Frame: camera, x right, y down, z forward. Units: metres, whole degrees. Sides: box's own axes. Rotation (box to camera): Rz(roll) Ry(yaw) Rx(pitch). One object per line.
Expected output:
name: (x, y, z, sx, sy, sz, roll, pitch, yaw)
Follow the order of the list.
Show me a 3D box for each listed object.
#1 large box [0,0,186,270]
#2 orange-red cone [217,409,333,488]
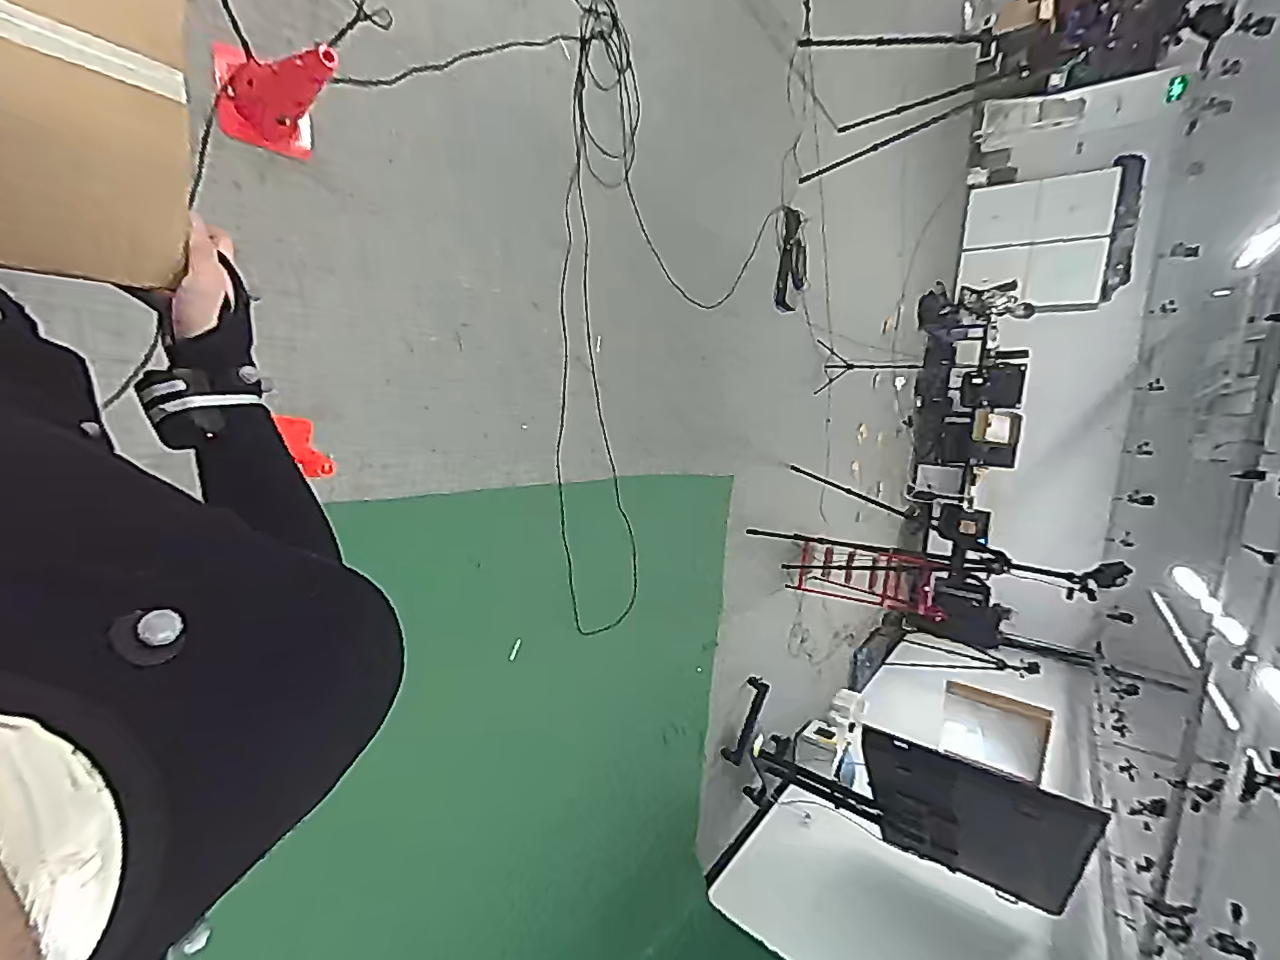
large box: (-0.596, -0.353, 0.342, 0.408, 0.320, 0.320, -11, 121, -55)
orange-red cone: (-0.857, -0.053, 1.338, 0.199, 0.360, 0.198, 7, 93, -55)
